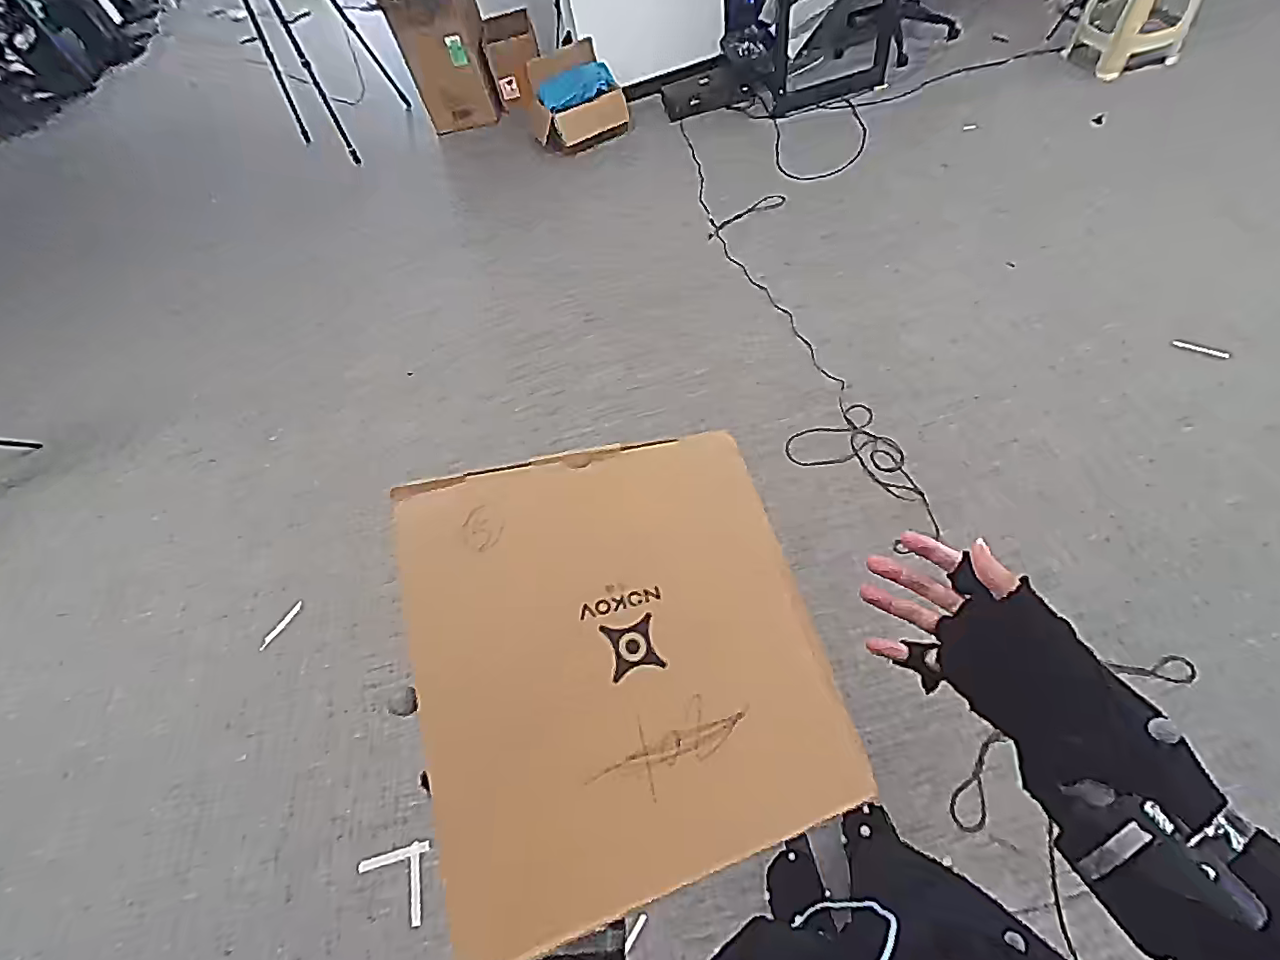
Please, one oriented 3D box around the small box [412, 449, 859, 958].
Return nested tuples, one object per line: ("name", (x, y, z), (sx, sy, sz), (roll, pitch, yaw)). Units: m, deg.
("small box", (-0.023, 0.106, 0.305), (0.168, 0.176, 0.179), (-10, 68, -18))
